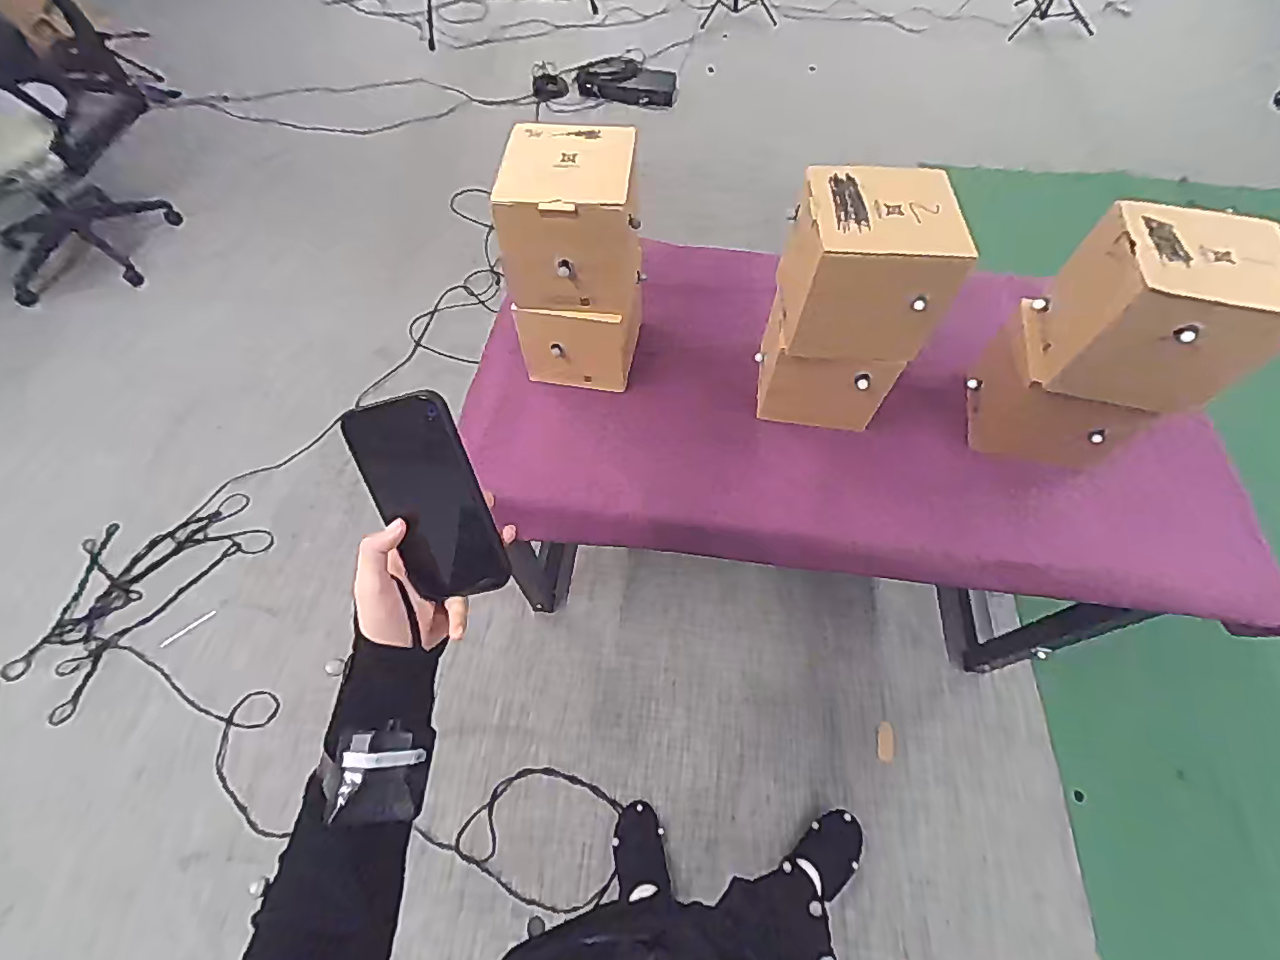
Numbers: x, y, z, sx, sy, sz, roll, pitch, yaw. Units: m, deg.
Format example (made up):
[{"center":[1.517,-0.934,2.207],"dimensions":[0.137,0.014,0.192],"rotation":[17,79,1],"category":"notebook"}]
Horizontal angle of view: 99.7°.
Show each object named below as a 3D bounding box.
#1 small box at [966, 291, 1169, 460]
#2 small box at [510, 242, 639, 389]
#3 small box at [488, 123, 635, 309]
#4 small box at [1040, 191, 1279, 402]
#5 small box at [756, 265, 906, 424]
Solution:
[{"center":[0.622,-0.149,0.810],"dimensions":[0.179,0.176,0.168],"rotation":[13,60,8],"category":"small box"},{"center":[-0.095,-0.271,0.889],"dimensions":[0.168,0.176,0.179],"rotation":[8,60,5],"category":"small box"},{"center":[-0.095,-0.360,0.751],"dimensions":[0.168,0.176,0.179],"rotation":[3,61,2],"category":"small box"},{"center":[0.627,-0.217,0.661],"dimensions":[0.179,0.176,0.168],"rotation":[13,61,7],"category":"small box"},{"center":[0.288,-0.205,0.845],"dimensions":[0.179,0.176,0.168],"rotation":[7,60,5],"category":"small box"}]
